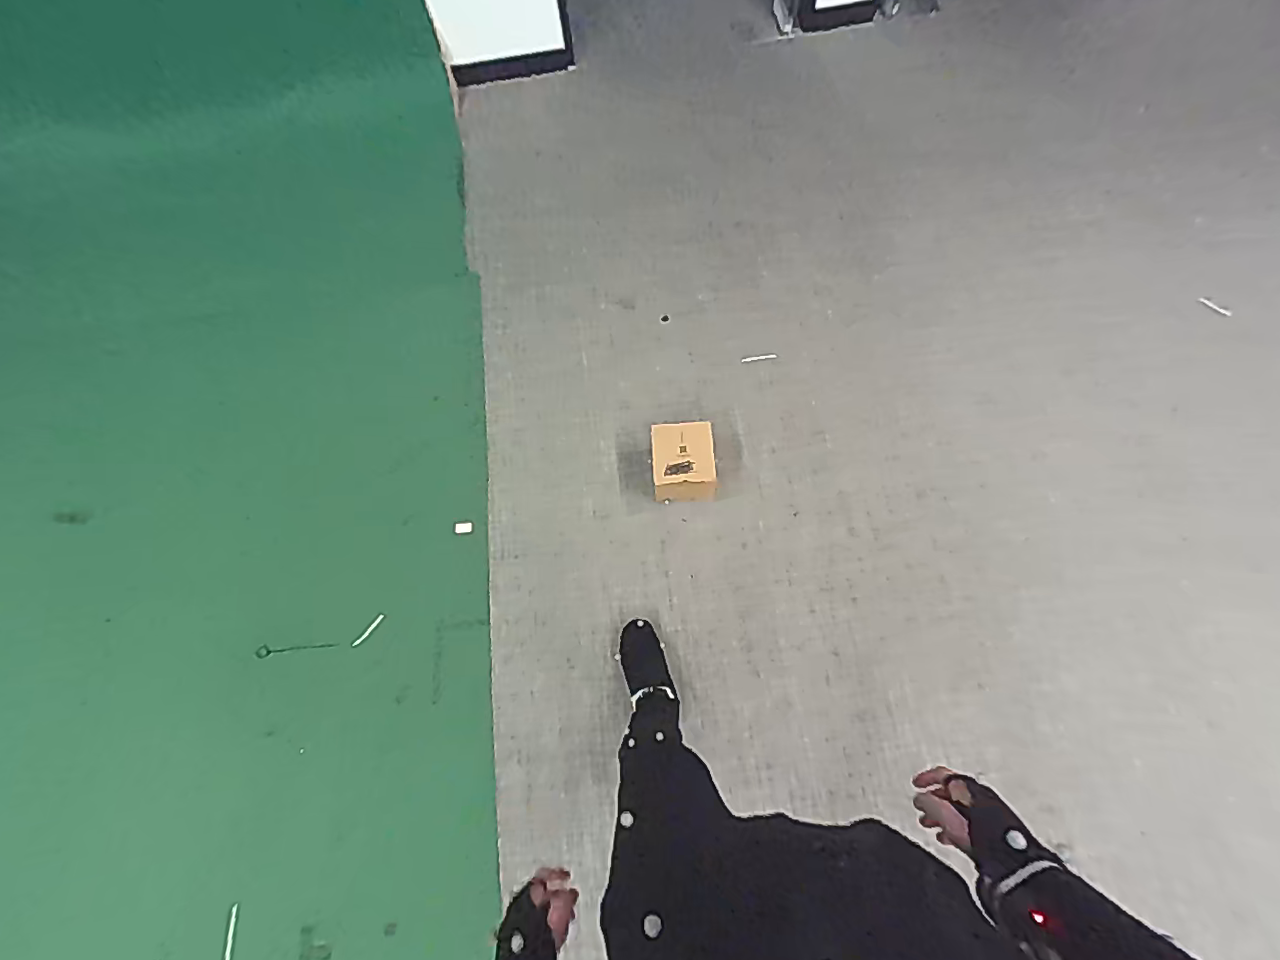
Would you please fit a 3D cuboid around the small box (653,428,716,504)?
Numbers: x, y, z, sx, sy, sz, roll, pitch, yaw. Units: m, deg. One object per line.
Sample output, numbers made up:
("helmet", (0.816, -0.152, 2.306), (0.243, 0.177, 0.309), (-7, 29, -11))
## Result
("small box", (0.123, -0.033, 1.535), (0.168, 0.176, 0.179), (-3, 70, 1))
